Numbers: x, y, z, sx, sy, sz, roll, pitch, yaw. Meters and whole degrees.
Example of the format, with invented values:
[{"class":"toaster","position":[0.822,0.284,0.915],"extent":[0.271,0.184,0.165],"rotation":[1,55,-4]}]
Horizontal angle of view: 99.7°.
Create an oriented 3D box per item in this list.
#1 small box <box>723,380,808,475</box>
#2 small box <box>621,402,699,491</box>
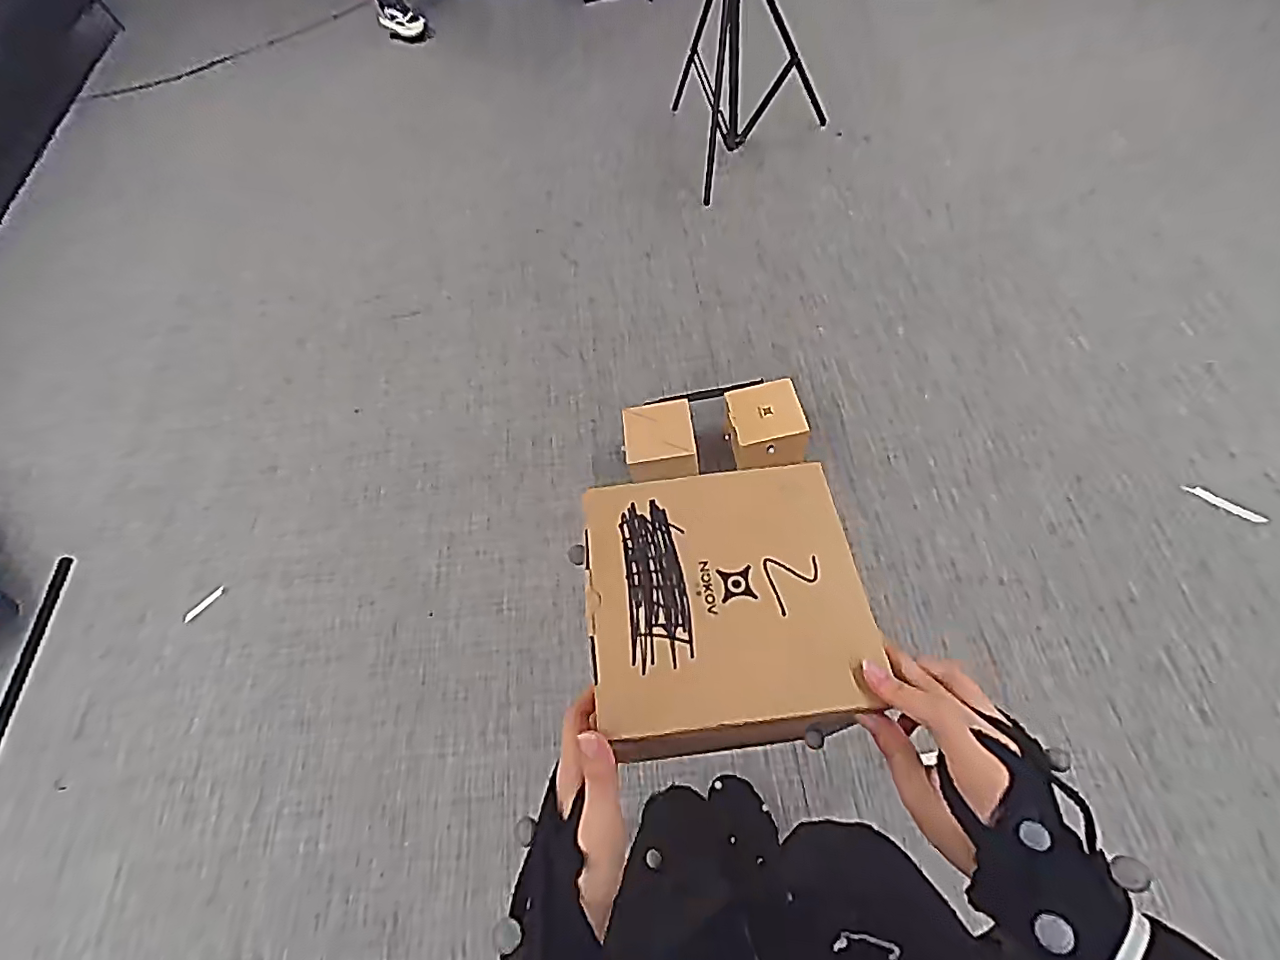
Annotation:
[{"class":"small box","position":[0.321,-0.132,1.420],"extent":[0.179,0.176,0.168],"rotation":[-13,63,2]},{"class":"small box","position":[0.056,-0.088,1.436],"extent":[0.179,0.176,0.168],"rotation":[-8,63,5]}]
